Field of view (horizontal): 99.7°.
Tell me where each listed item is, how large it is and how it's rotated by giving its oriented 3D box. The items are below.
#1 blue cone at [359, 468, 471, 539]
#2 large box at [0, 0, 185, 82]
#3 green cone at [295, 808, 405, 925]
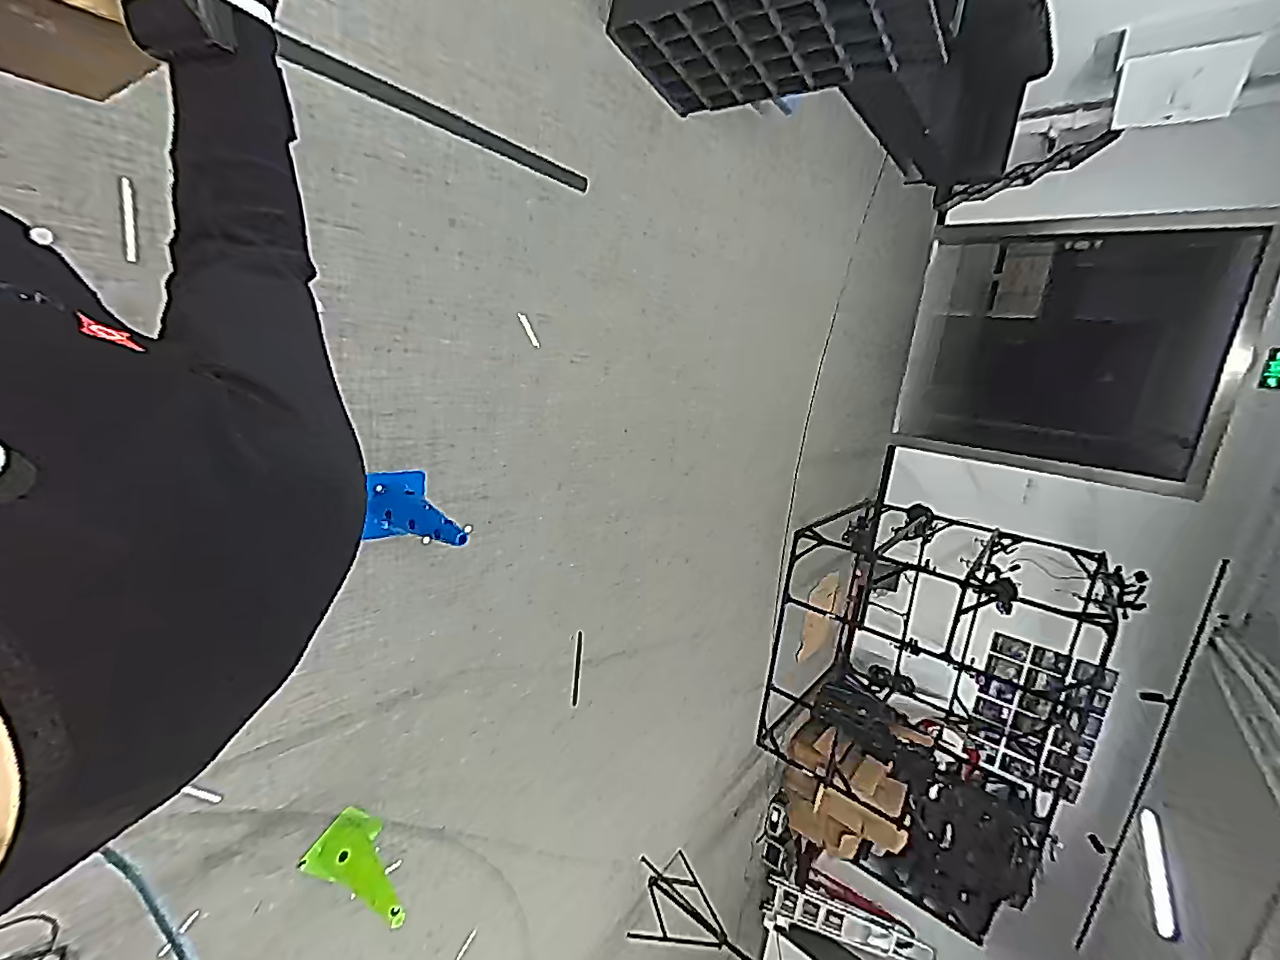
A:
[{"bbox_3d":[-0.610,0.099,1.513,0.192,0.380,0.193,-5,107,-53],"label":"blue cone"},{"bbox_3d":[-0.535,-0.477,0.268,0.408,0.320,0.320,-11,115,-52],"label":"large box"},{"bbox_3d":[-0.826,1.204,1.627,0.202,0.368,0.200,-51,139,-30],"label":"green cone"}]
